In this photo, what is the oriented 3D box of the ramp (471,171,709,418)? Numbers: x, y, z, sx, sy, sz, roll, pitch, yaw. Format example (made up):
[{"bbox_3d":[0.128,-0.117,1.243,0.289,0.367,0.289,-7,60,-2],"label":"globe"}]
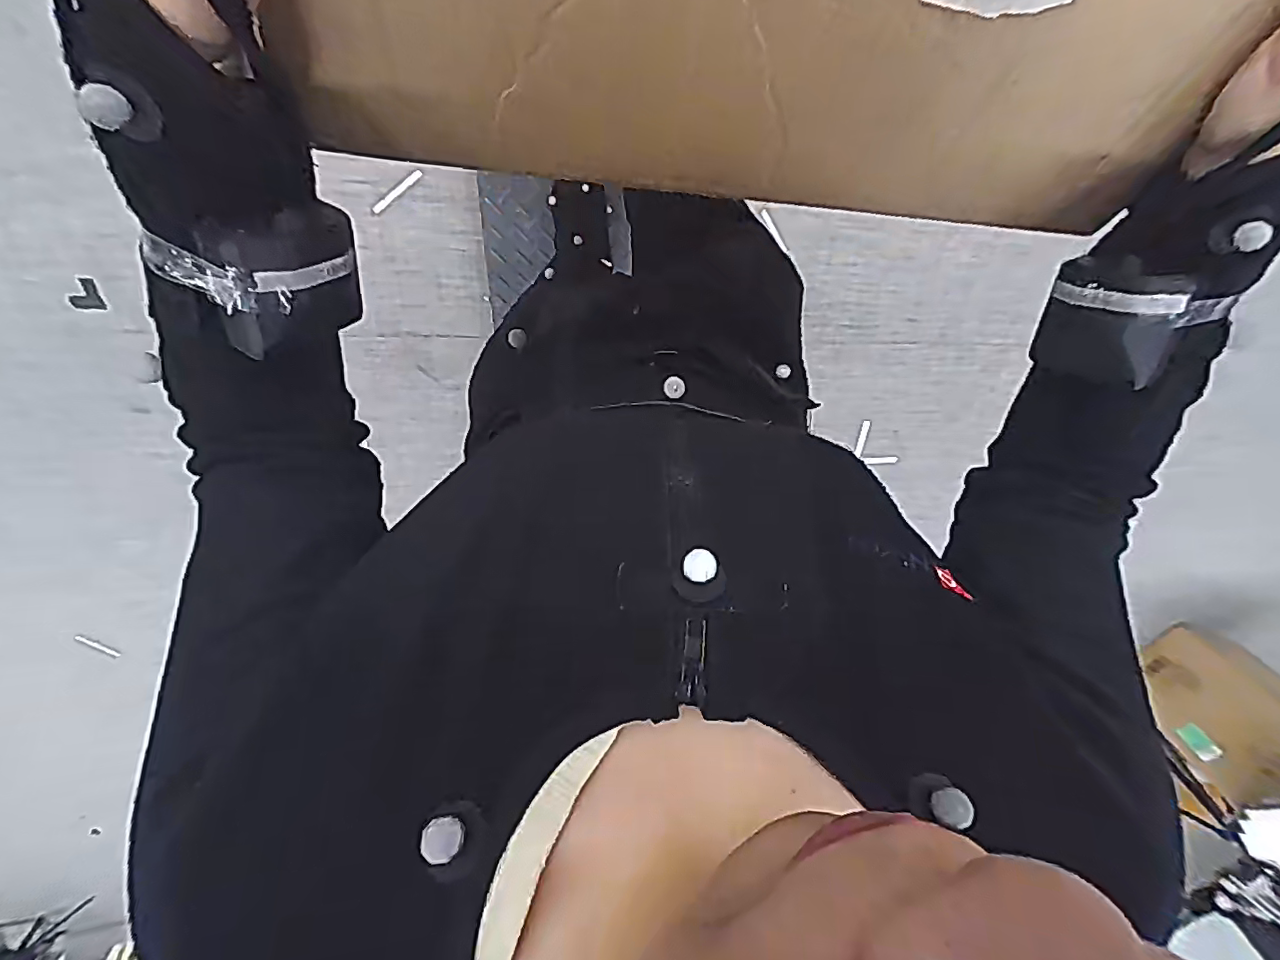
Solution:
[{"bbox_3d":[-0.102,-0.534,1.183,0.509,0.206,0.991,-3,125,-8],"label":"ramp"}]

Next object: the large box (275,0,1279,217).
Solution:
[{"bbox_3d":[0.062,-0.350,0.209,0.408,0.320,0.320,1,156,-9],"label":"large box"}]
